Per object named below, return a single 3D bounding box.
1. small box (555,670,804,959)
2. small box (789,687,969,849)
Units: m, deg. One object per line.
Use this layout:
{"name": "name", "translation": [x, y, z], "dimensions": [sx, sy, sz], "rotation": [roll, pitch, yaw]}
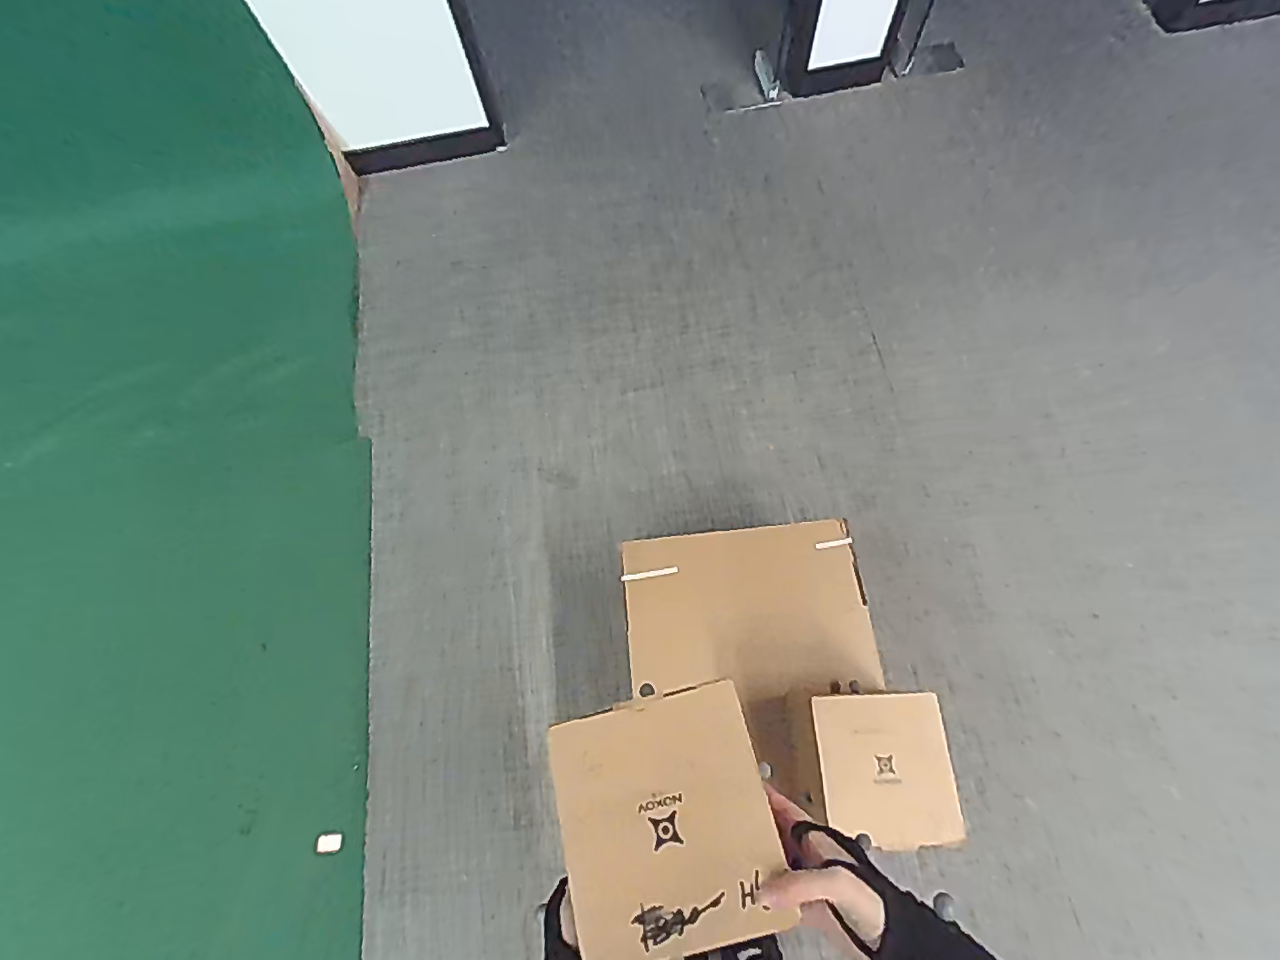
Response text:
{"name": "small box", "translation": [0.031, 0.291, 0.500], "dimensions": [0.168, 0.176, 0.179], "rotation": [-15, 65, 0]}
{"name": "small box", "translation": [0.313, 0.384, 0.748], "dimensions": [0.168, 0.176, 0.179], "rotation": [-3, 69, 2]}
